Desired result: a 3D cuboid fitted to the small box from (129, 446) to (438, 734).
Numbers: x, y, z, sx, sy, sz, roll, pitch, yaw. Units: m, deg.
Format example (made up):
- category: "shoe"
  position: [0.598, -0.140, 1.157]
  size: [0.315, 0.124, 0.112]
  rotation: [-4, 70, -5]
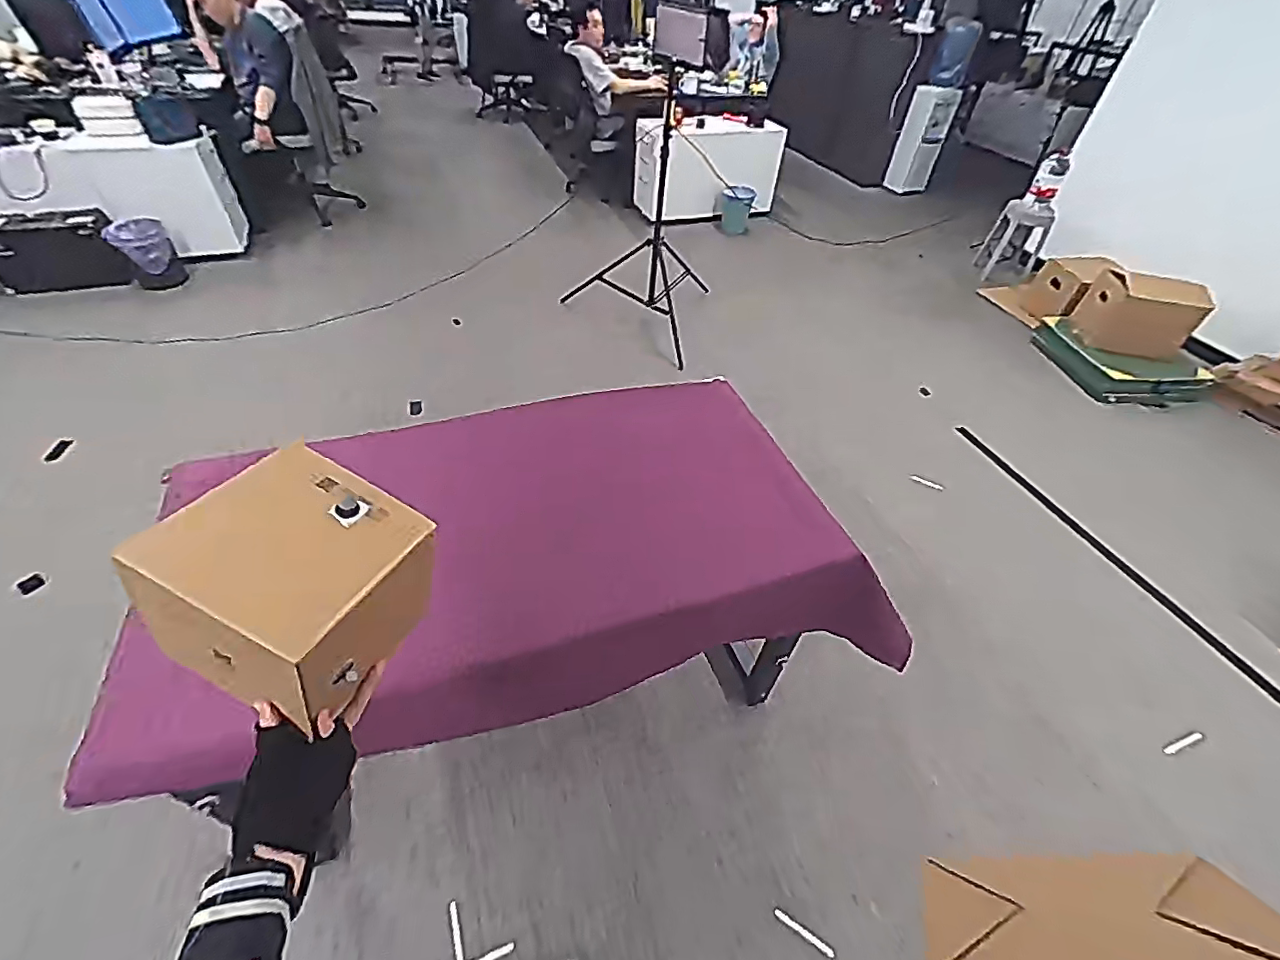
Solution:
- category: "small box"
  position: [-0.318, 0.102, 0.524]
  size: [0.168, 0.179, 0.176]
  rotation: [27, 41, 3]
